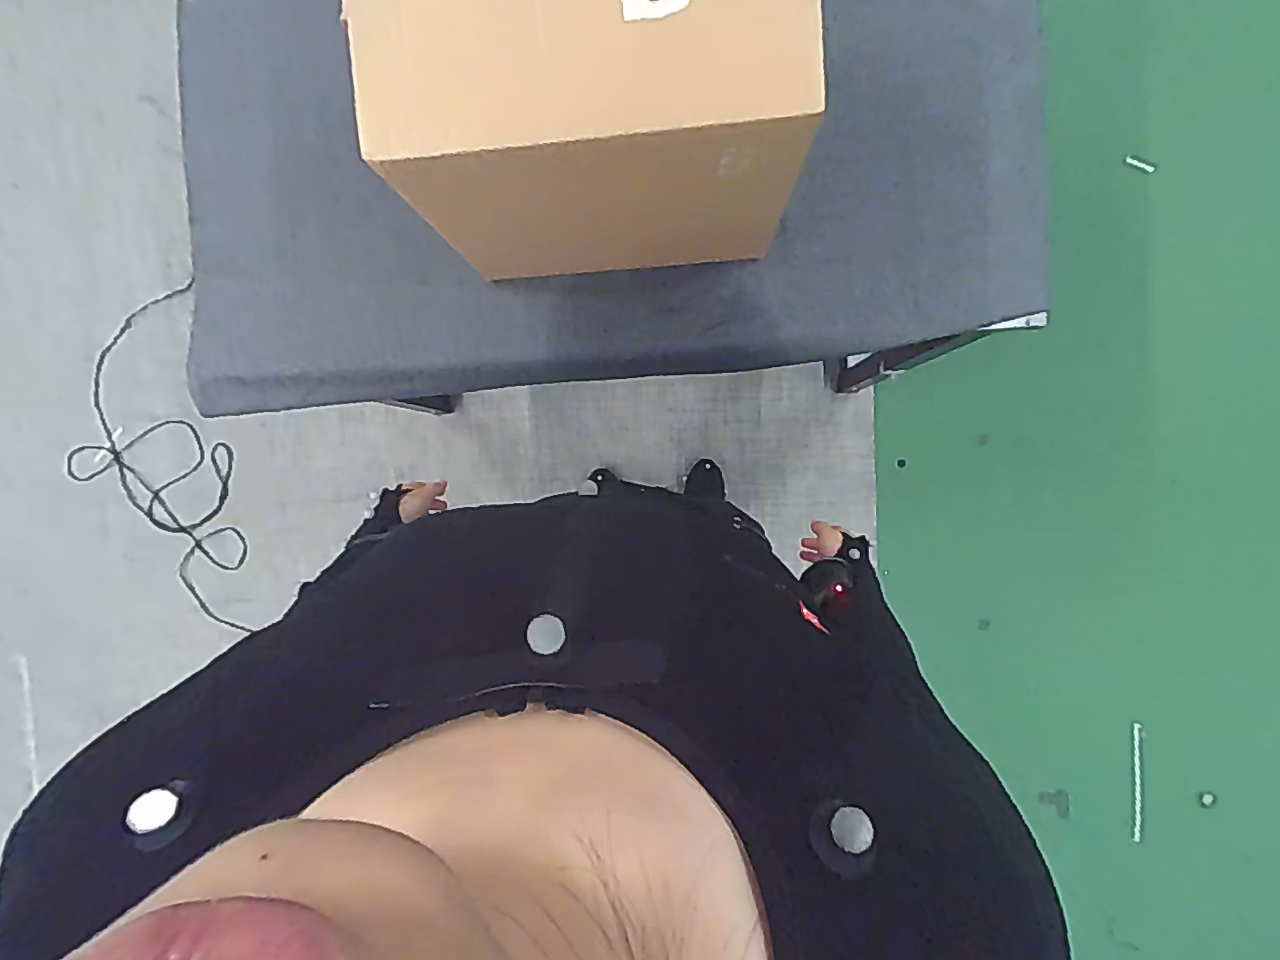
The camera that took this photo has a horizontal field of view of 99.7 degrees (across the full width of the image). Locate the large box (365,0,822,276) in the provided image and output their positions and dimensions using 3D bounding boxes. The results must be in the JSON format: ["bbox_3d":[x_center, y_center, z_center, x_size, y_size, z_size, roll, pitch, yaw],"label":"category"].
[{"bbox_3d":[-0.044,-0.458,0.624,0.408,0.320,0.320,-4,92,3],"label":"large box"}]
